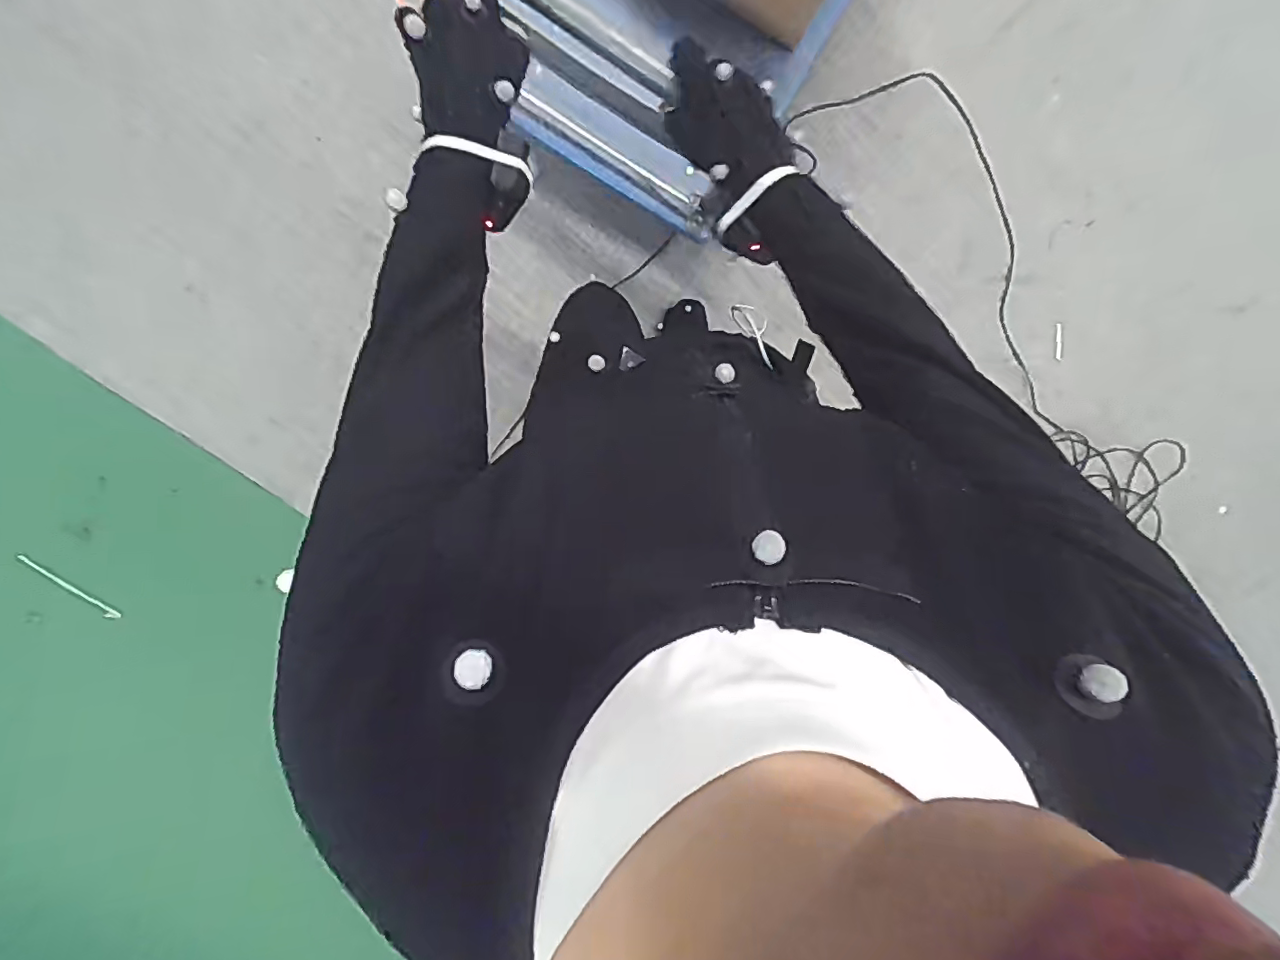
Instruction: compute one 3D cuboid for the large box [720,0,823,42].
[{"bbox_3d":[0.190,-1.014,0.850,0.408,0.320,0.320,27,105,-7],"label":"large box"}]
